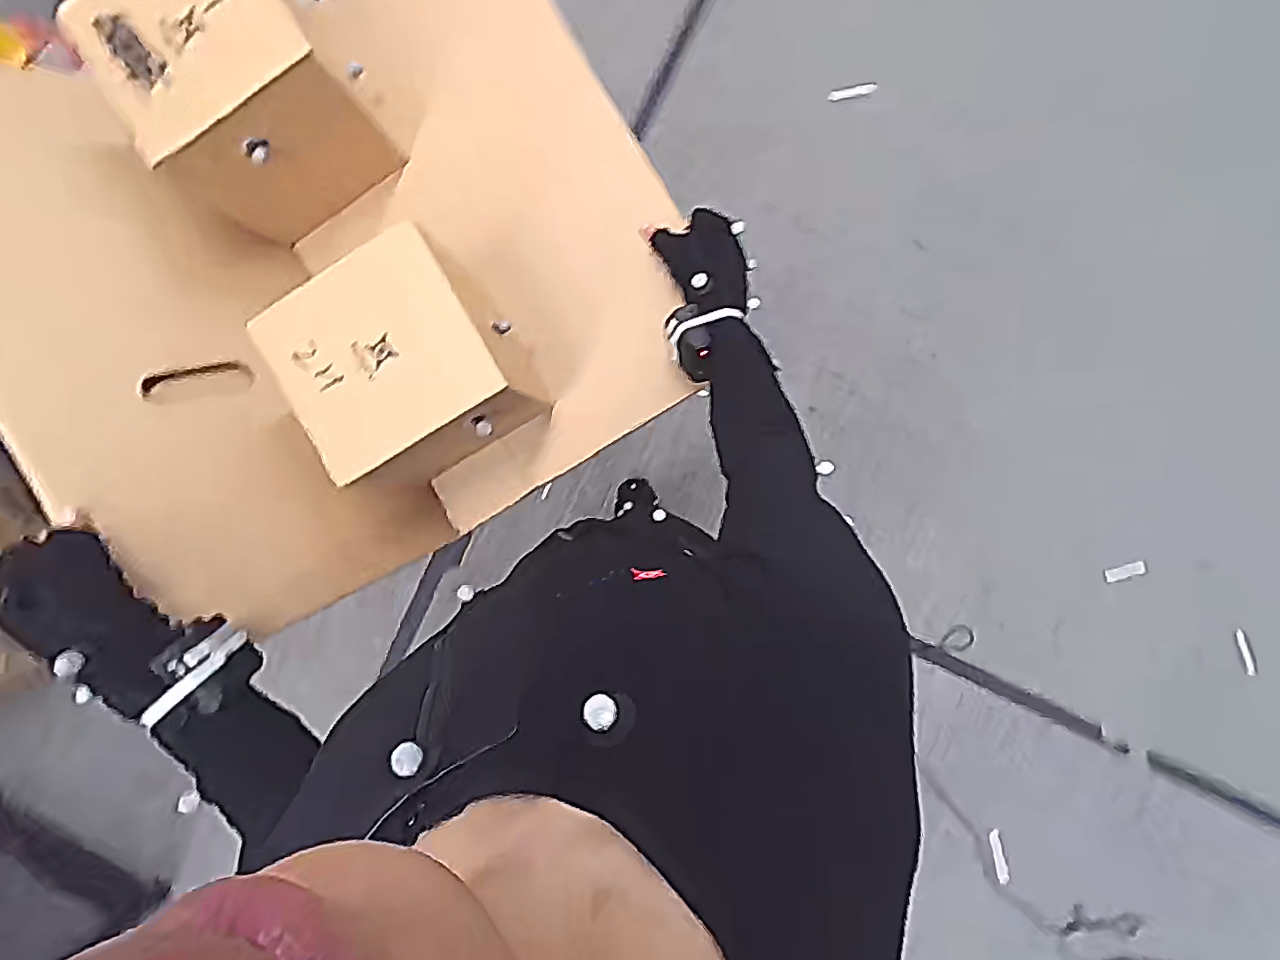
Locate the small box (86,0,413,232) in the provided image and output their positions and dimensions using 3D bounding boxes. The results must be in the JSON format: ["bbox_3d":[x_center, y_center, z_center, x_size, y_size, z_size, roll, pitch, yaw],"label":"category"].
[{"bbox_3d":[-0.376,-0.393,0.553,0.179,0.176,0.168,-31,89,5],"label":"small box"}]

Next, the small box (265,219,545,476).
[{"bbox_3d":[-0.213,-0.118,0.549,0.179,0.176,0.168,-29,89,6],"label":"small box"}]
